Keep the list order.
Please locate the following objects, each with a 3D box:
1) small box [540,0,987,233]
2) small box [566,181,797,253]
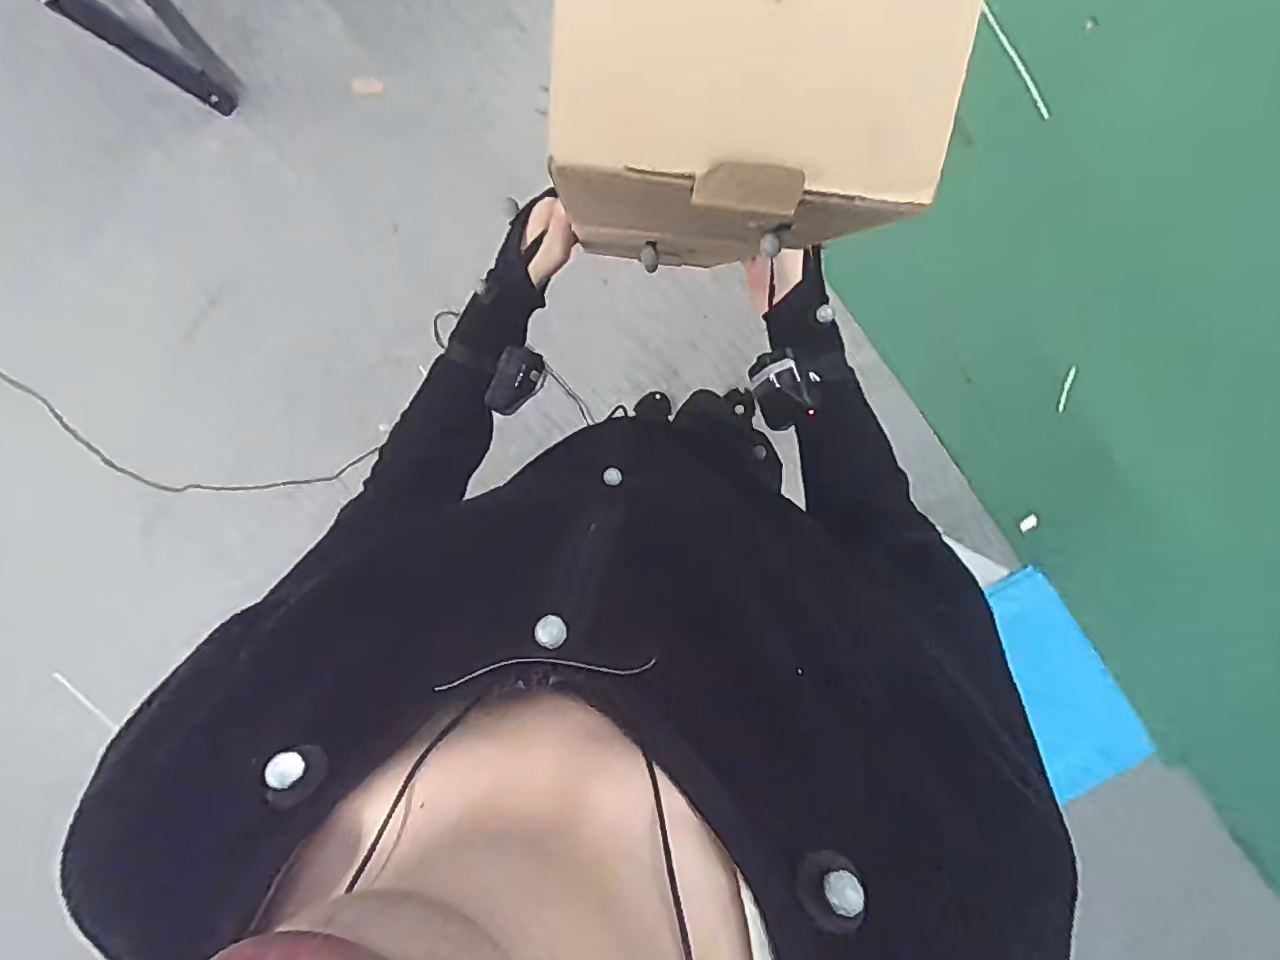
[{"bbox_3d":[0.046,-0.230,0.265,0.168,0.176,0.179,4,107,-6],"label":"small box"},{"bbox_3d":[0.032,-0.279,0.420,0.168,0.176,0.179,2,107,-5],"label":"small box"}]
